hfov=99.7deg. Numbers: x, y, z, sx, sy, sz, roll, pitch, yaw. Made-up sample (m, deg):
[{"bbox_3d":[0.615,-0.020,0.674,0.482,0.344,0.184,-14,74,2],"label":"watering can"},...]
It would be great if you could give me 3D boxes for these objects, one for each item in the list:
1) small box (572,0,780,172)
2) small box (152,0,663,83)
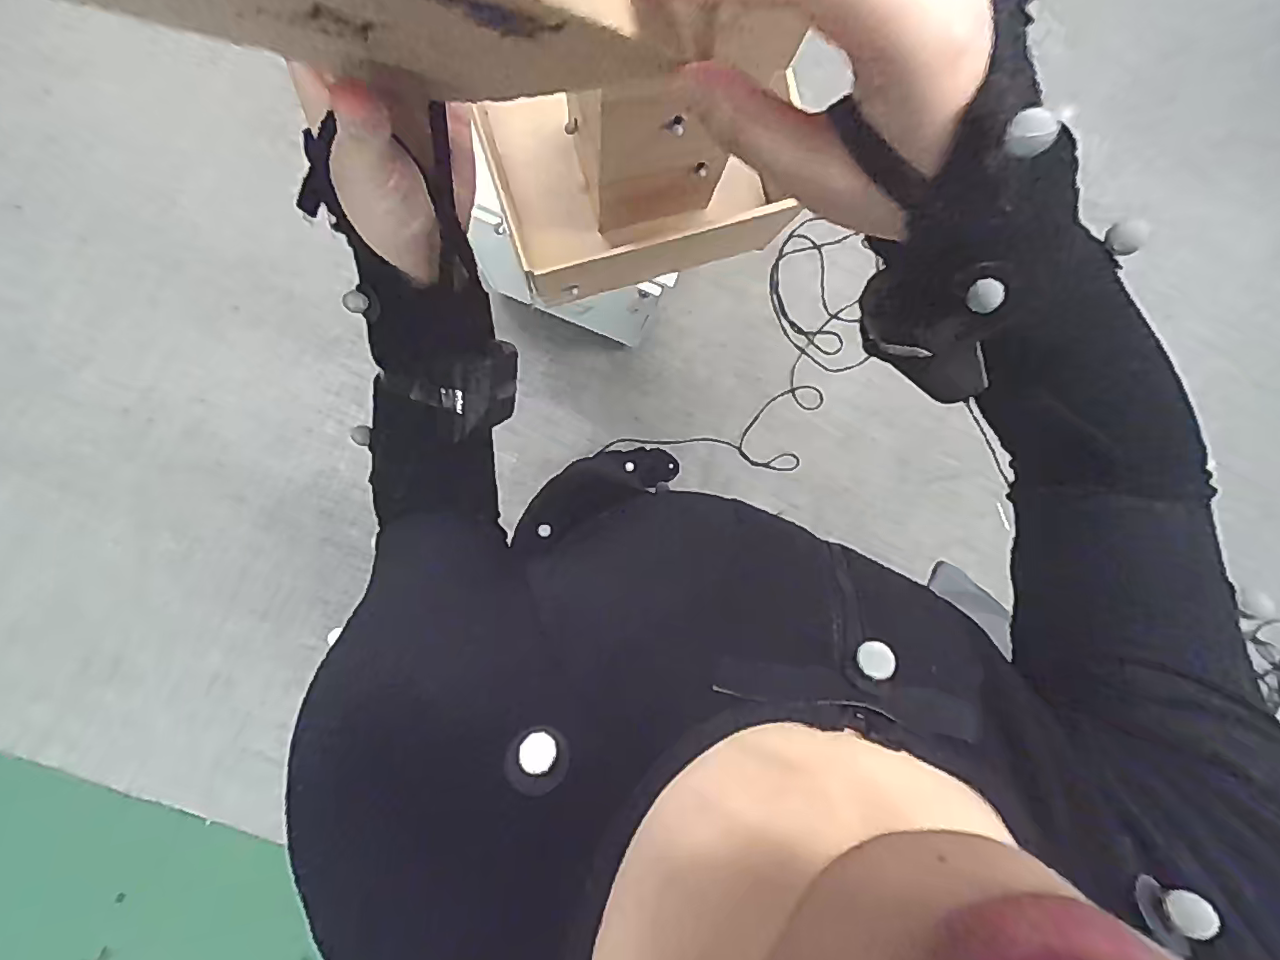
[{"bbox_3d":[0.019,-0.457,0.561,0.179,0.176,0.168,-15,93,-3],"label":"small box"},{"bbox_3d":[-0.094,-0.227,0.137,0.168,0.179,0.176,-17,125,-40],"label":"small box"}]
